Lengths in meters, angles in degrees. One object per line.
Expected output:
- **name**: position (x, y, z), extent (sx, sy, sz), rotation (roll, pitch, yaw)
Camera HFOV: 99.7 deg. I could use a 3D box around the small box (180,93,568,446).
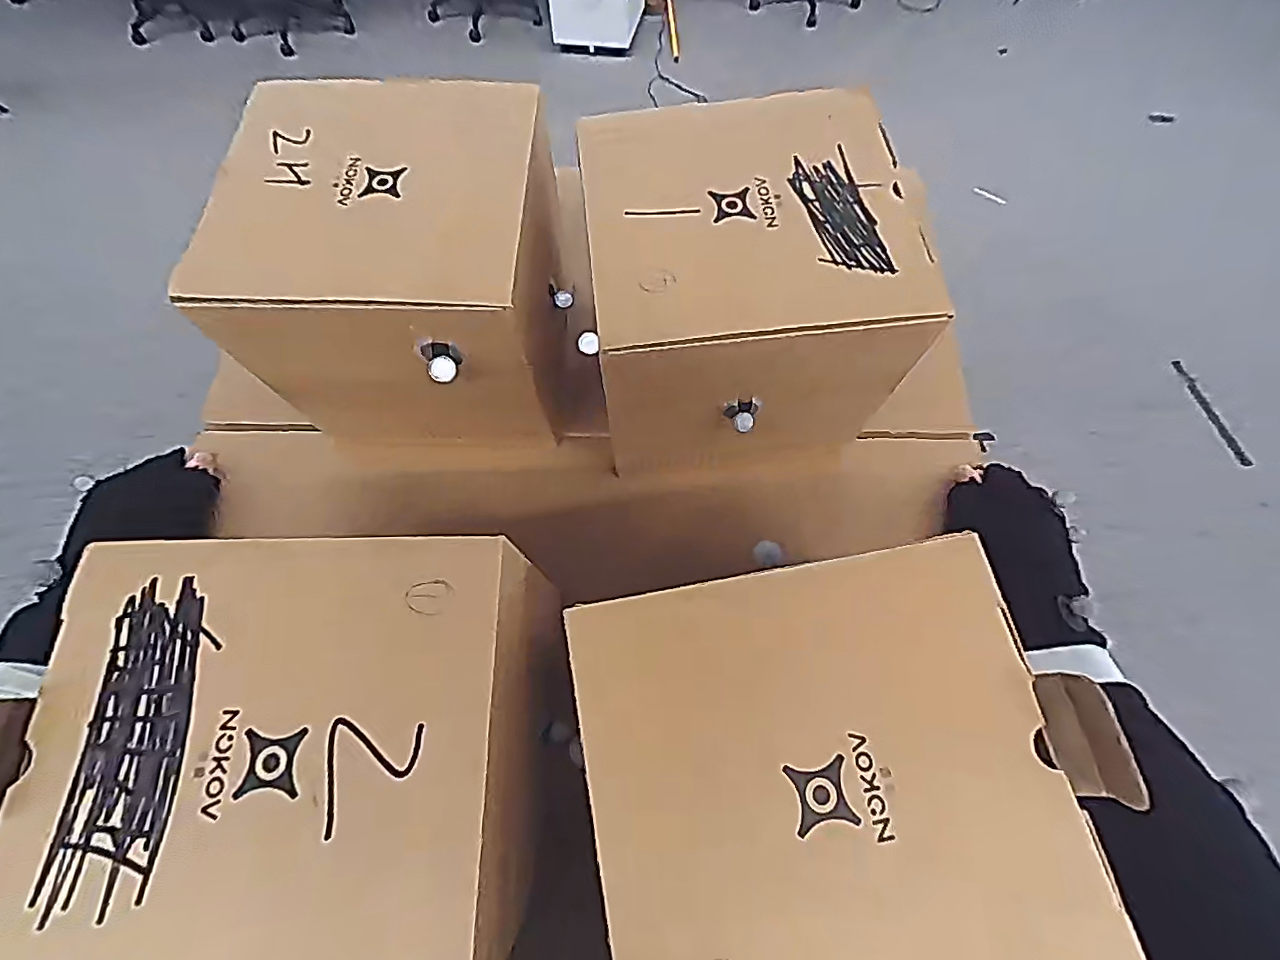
- **small box**: position (-0.151, -0.132, 0.384), extent (0.179, 0.176, 0.168), rotation (2, 68, 2)
